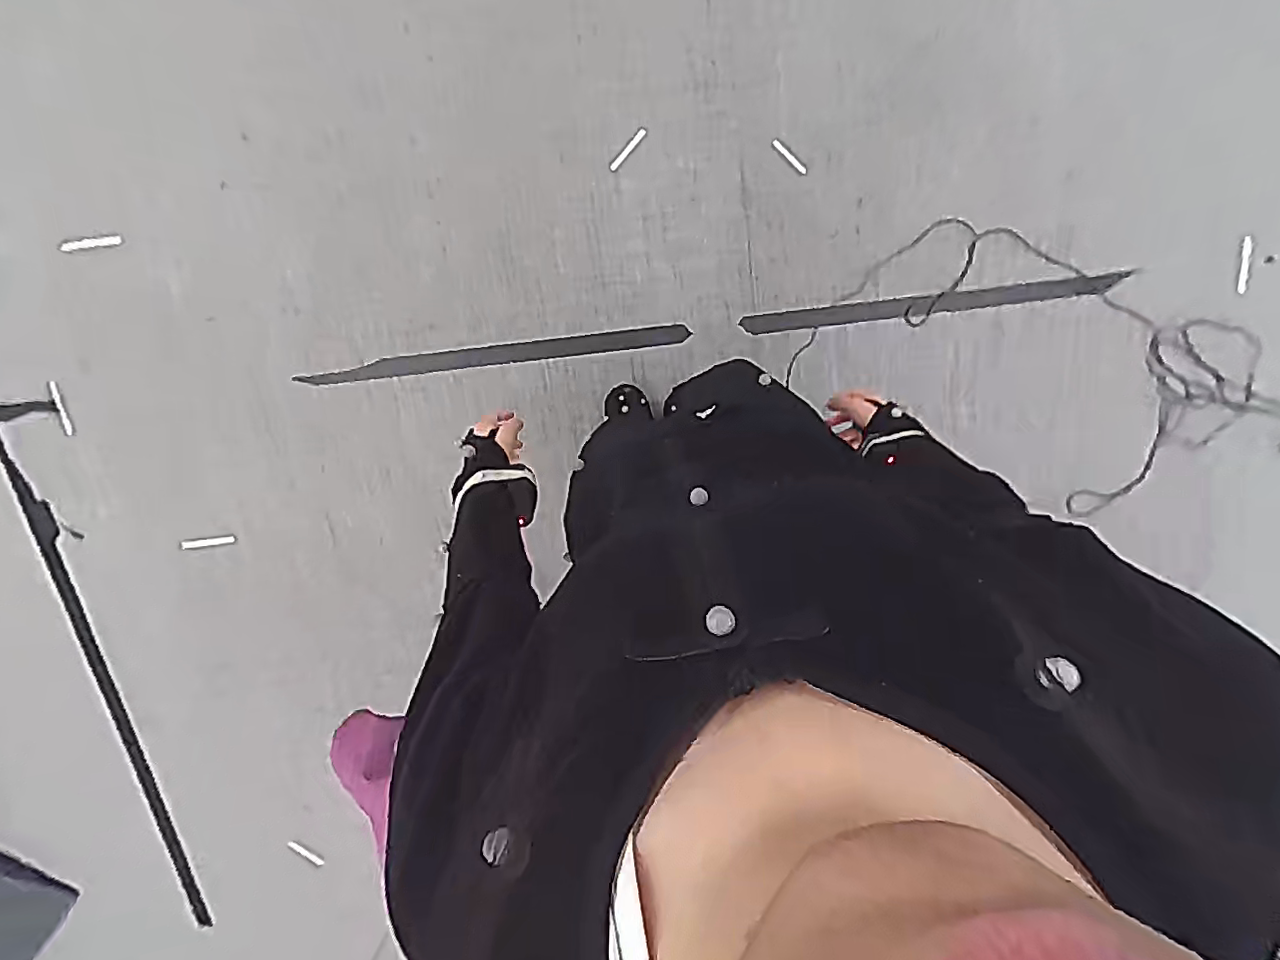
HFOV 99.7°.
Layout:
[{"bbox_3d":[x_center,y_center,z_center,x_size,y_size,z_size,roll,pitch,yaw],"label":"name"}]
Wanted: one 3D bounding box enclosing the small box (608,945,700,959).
[{"bbox_3d":[0.034,0.921,0.886,0.168,0.176,0.179,-8,102,0],"label":"small box"}]
